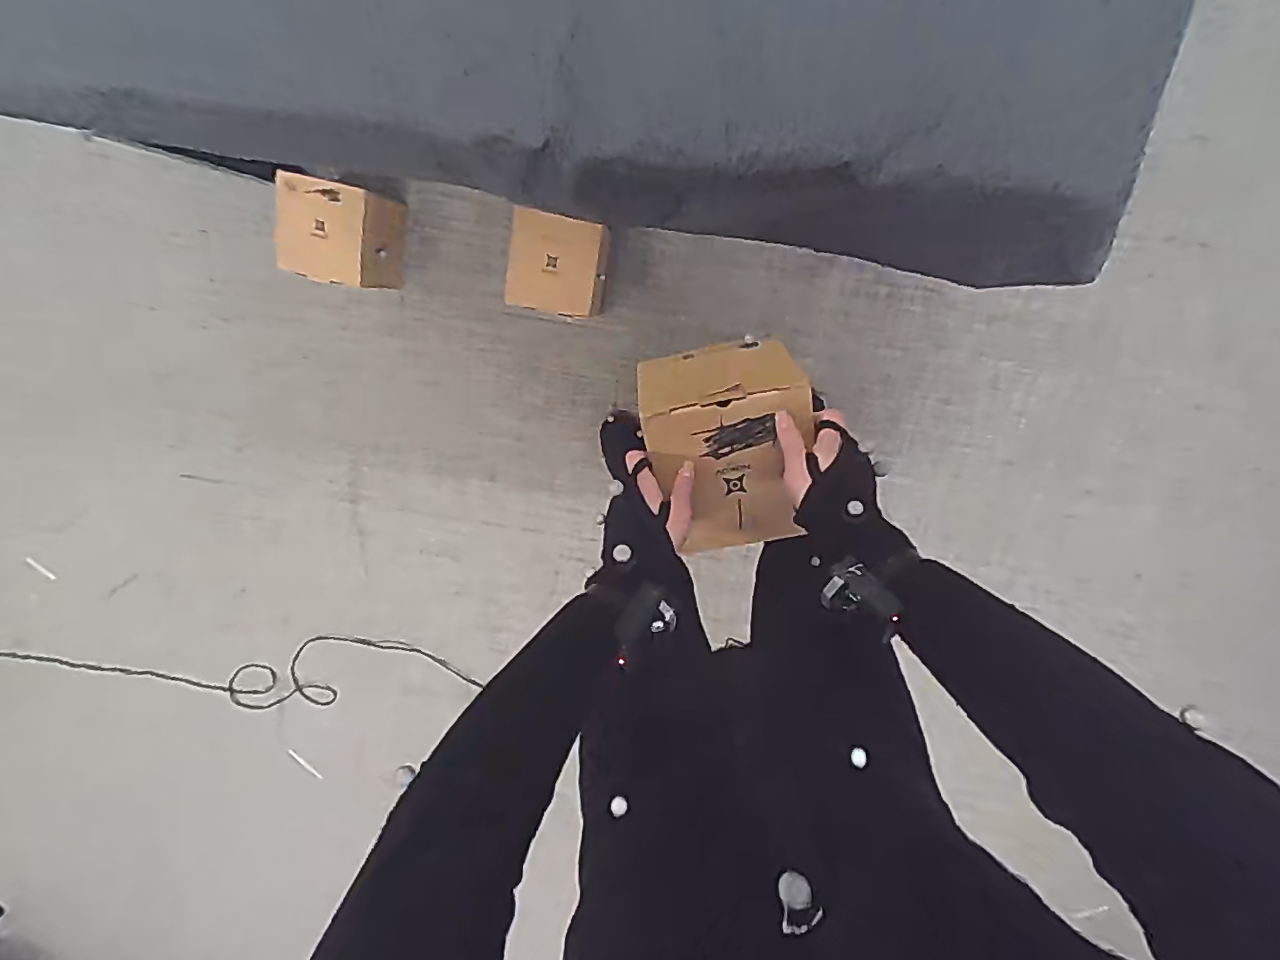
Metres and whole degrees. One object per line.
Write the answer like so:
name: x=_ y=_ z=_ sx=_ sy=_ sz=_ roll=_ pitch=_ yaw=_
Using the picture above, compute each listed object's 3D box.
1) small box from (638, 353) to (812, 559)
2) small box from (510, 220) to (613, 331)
small box: x=0.092 y=-0.037 z=0.626 sx=0.168 sy=0.176 sz=0.179 roll=-10 pitch=119 yaw=7
small box: x=-0.152 y=-0.403 z=1.089 sx=0.168 sy=0.176 sz=0.179 roll=10 pitch=106 yaw=0
